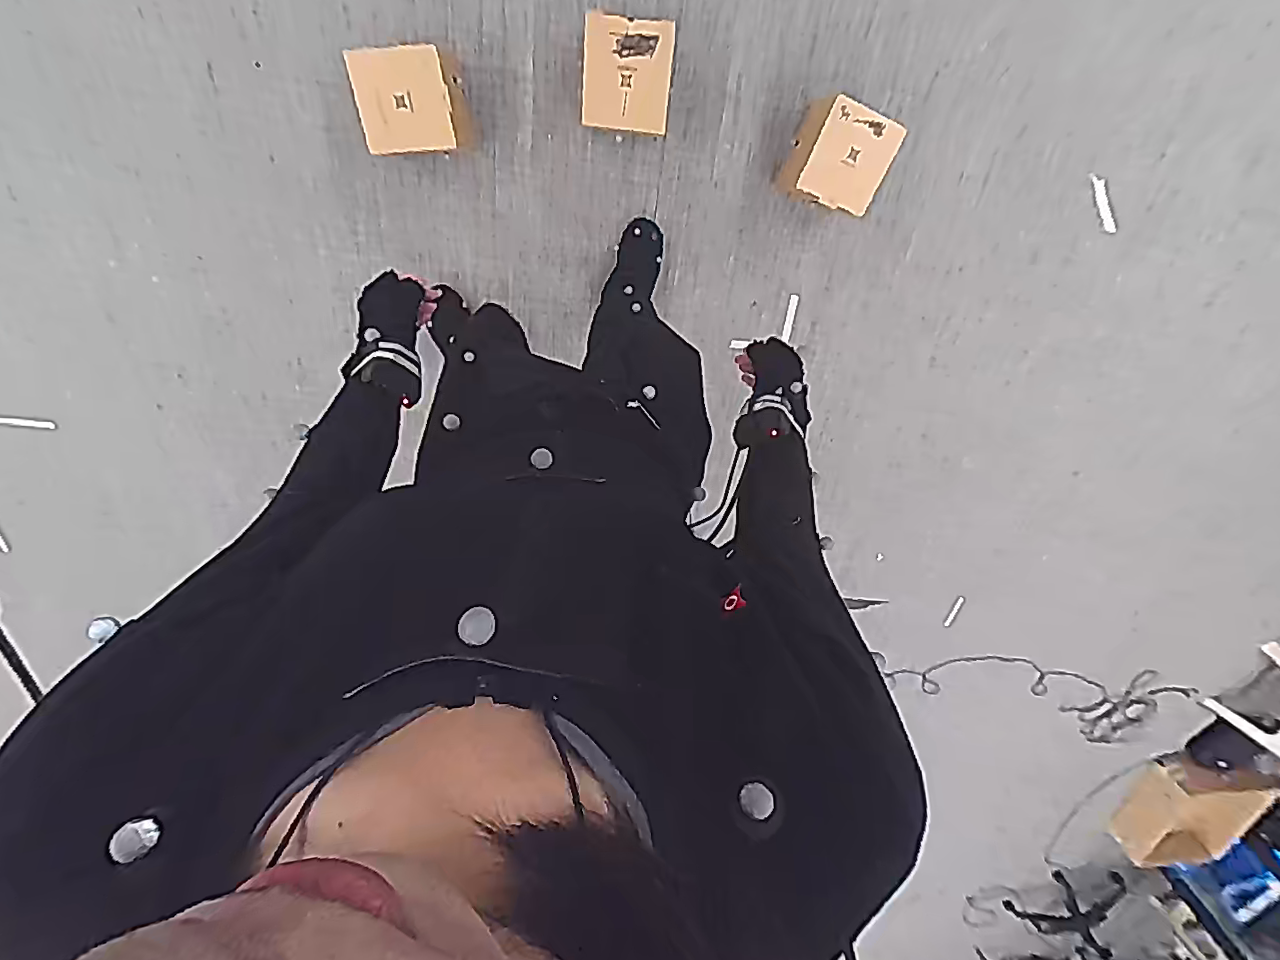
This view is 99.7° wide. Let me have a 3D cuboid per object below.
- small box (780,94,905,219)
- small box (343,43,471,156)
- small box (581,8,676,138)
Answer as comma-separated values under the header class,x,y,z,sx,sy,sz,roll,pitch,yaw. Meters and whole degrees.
class,x,y,z,sx,sy,sz,roll,pitch,yaw
small box,0.420,-0.689,1.163,0.168,0.176,0.179,18,118,-13
small box,-0.450,-0.752,1.083,0.179,0.176,0.168,-4,119,1
small box,-0.029,-0.796,1.075,0.168,0.176,0.179,4,121,-5
